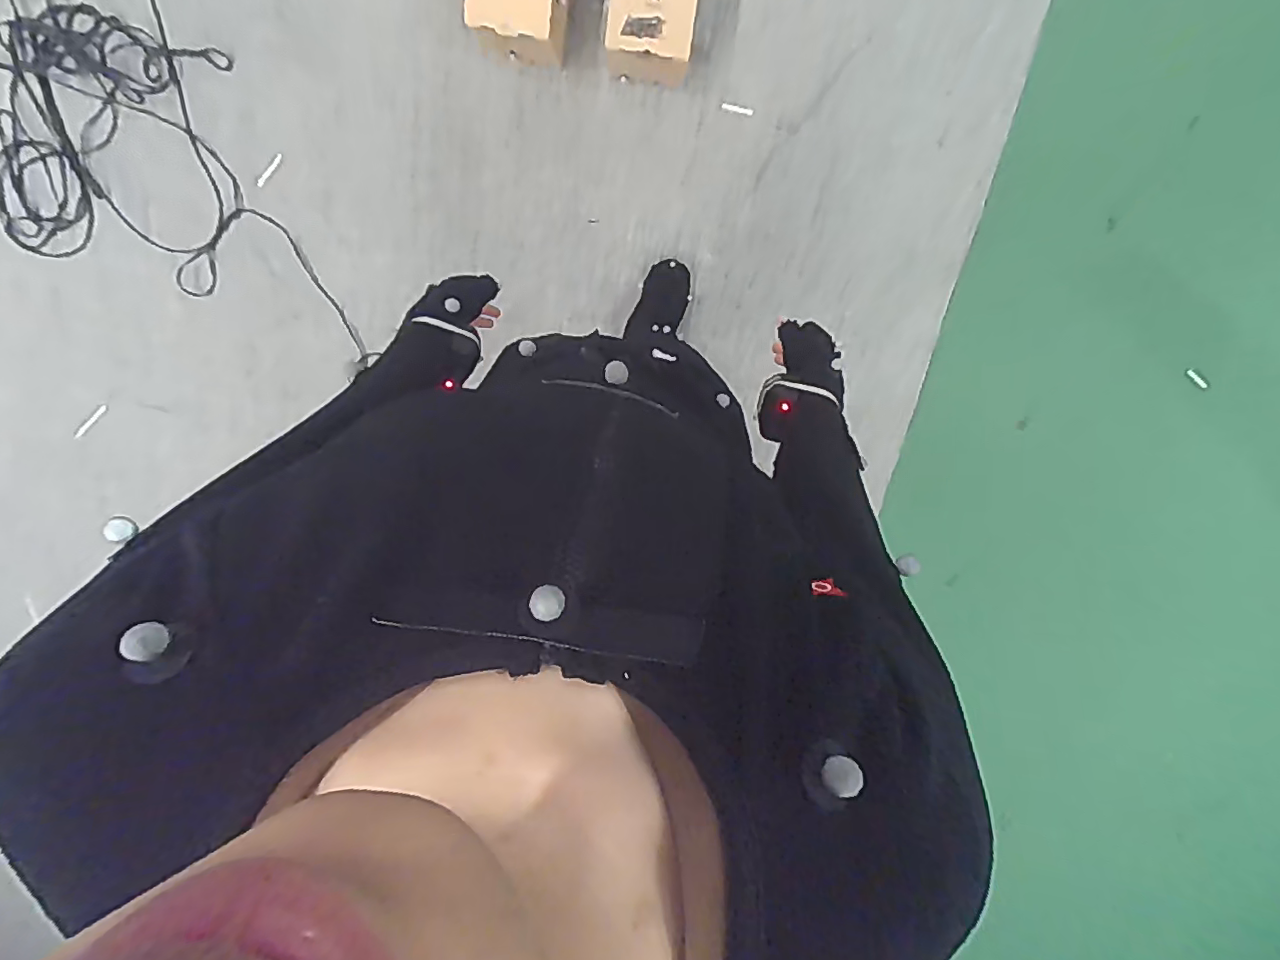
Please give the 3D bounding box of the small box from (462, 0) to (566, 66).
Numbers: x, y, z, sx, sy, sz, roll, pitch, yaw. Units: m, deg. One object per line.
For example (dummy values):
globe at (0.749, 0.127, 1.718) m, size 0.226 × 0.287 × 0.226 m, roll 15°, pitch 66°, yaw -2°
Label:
small box at (-0.244, -0.971, 1.078) m, size 0.168 × 0.176 × 0.179 m, roll 9°, pitch 111°, yaw -2°

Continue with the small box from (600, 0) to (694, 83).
small box at (0.019, -0.934, 1.084) m, size 0.168 × 0.176 × 0.179 m, roll 9°, pitch 110°, yaw -2°
